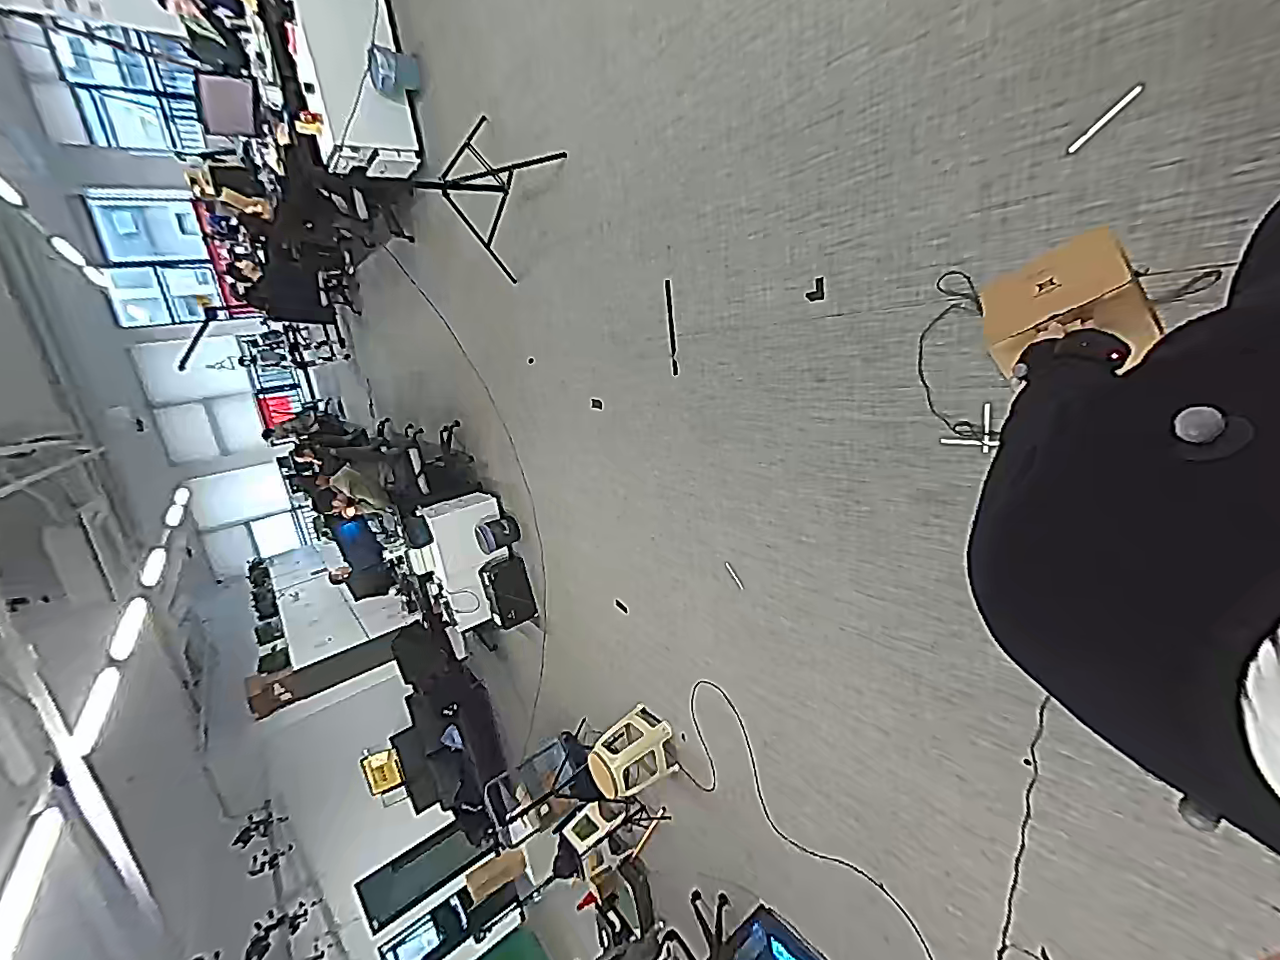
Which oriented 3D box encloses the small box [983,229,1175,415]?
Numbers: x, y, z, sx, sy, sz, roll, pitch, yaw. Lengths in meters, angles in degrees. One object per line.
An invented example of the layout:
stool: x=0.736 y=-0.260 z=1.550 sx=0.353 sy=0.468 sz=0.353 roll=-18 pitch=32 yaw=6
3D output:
small box: x=0.629 y=-0.216 z=0.787 sx=0.176 sy=0.179 sz=0.168 roll=44 pitch=139 yaw=-19
